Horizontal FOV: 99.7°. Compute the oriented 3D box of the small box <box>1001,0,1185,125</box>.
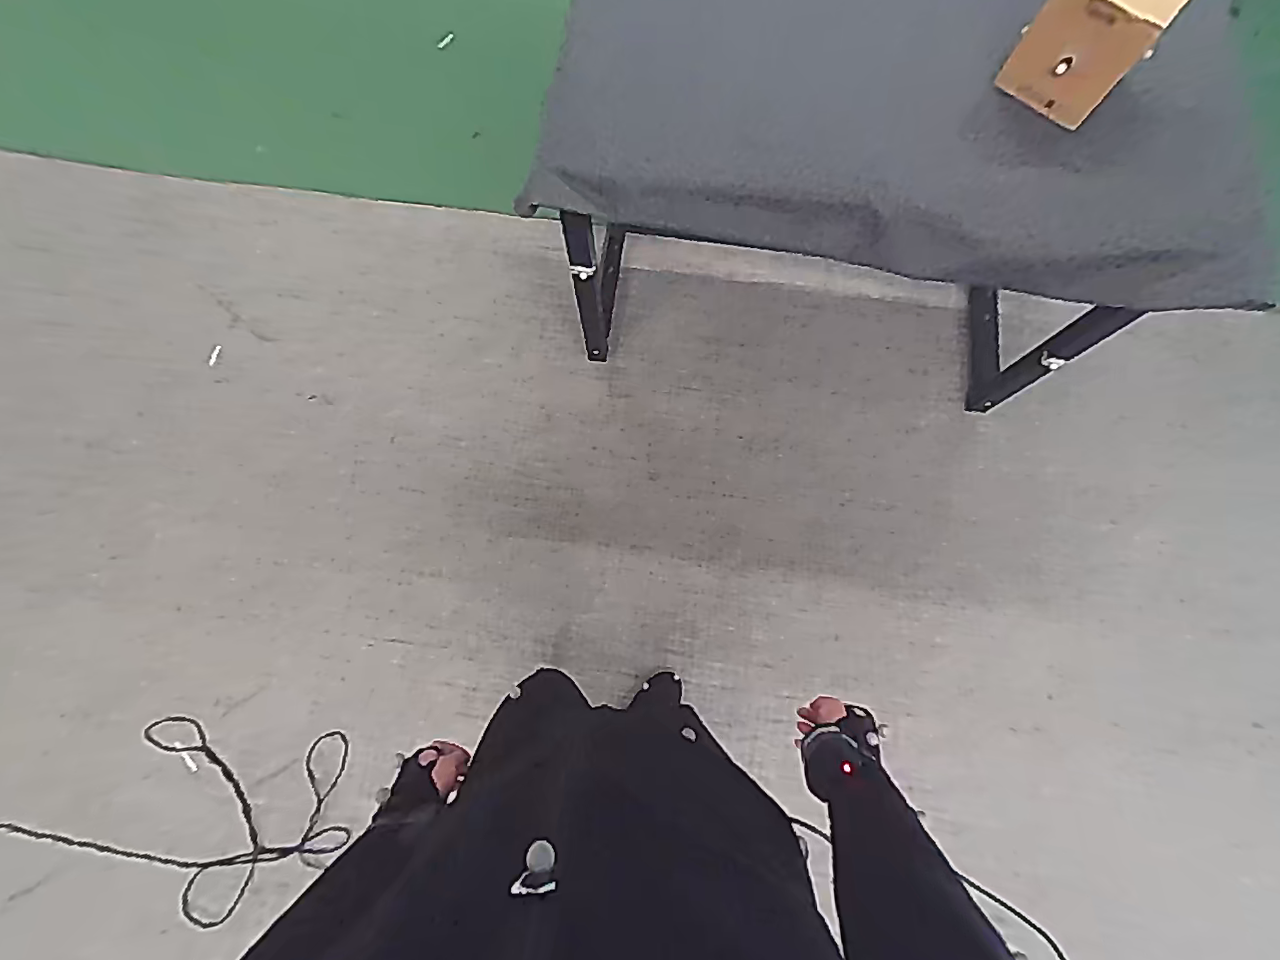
[{"bbox_3d":[0.742,-0.738,0.886,0.168,0.176,0.179,40,80,9],"label":"small box"}]
